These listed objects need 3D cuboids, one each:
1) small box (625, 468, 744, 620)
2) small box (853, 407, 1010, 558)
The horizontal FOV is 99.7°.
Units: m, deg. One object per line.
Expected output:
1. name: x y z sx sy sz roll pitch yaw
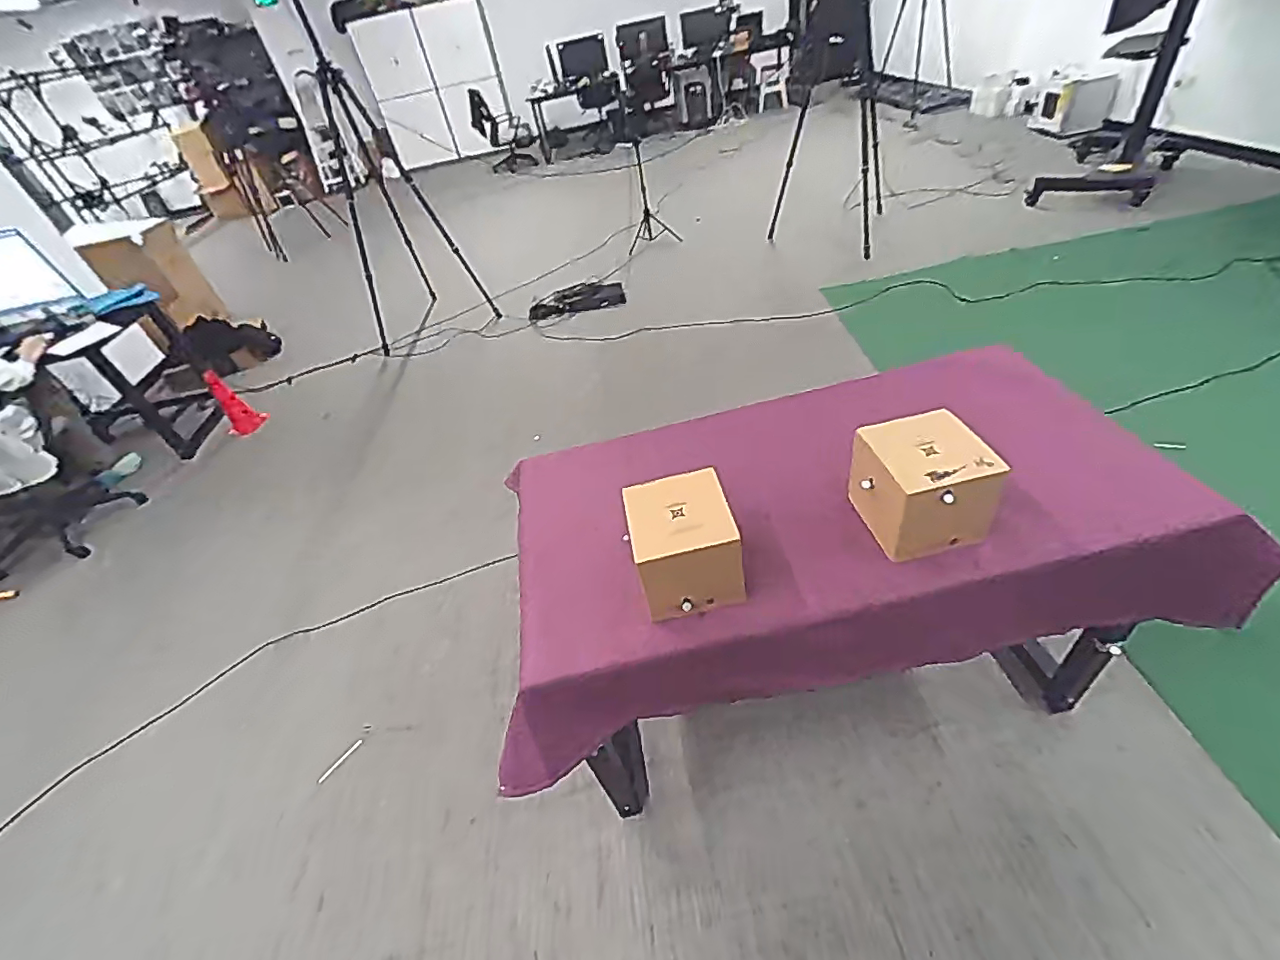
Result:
1. small box: 0.076 0.110 0.929 0.168 0.176 0.179 -13 42 1
2. small box: 0.483 0.005 0.931 0.168 0.176 0.179 -15 41 1
